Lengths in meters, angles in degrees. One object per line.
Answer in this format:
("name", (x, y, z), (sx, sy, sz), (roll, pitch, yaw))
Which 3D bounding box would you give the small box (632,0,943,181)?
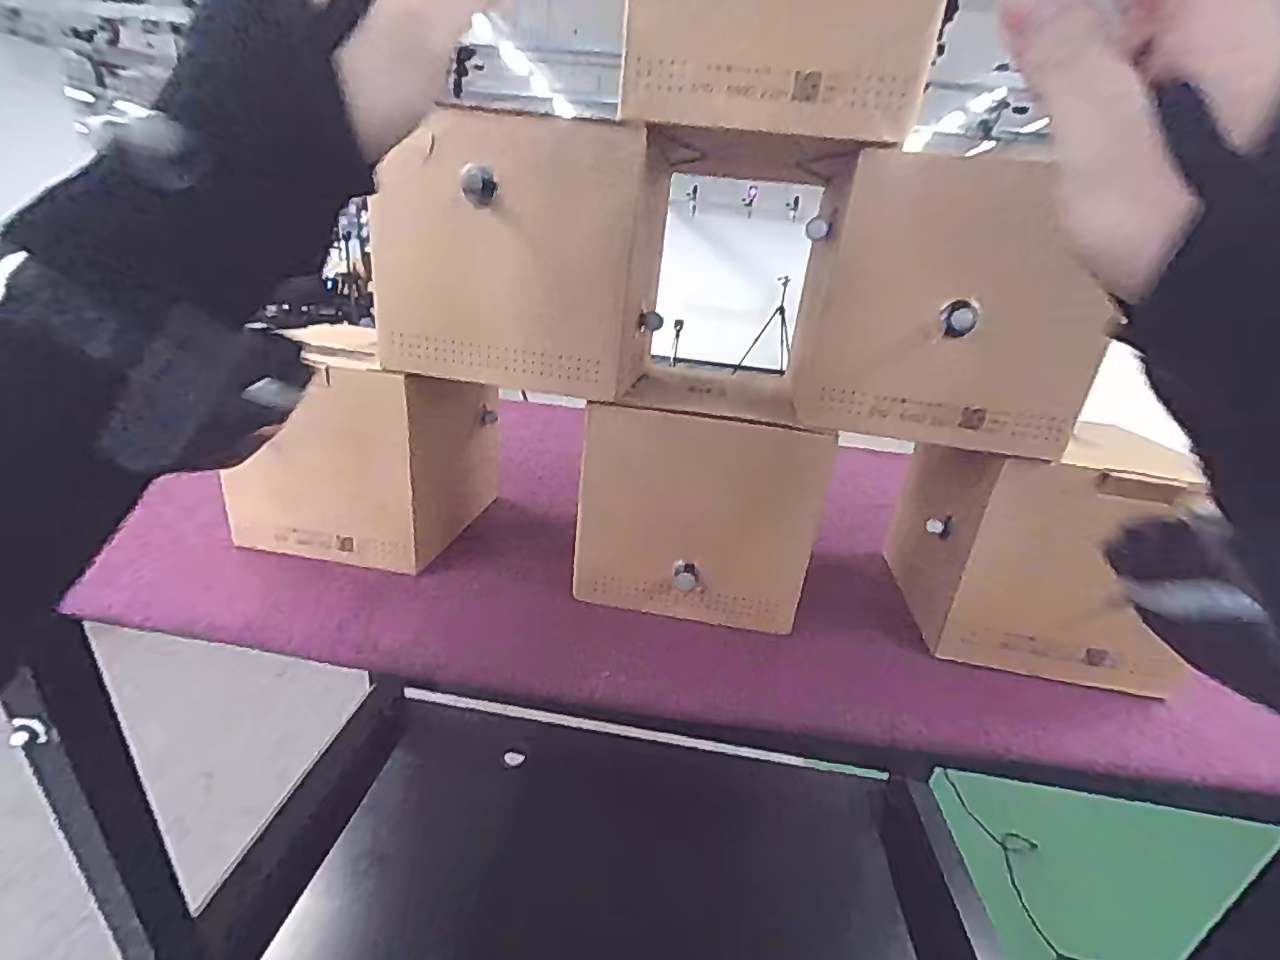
("small box", (0.090, -0.300, 0.350), (0.168, 0.176, 0.179), (8, 21, 5))

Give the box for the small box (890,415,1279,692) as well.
("small box", (0.327, 0.041, 0.444), (0.168, 0.176, 0.179), (10, 21, 8))

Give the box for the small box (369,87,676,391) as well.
("small box", (-0.076, -0.171, 0.416), (0.179, 0.176, 0.168), (10, 22, 6))

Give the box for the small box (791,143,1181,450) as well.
("small box", (0.213, -0.130, 0.398), (0.168, 0.176, 0.179), (9, 22, 8))
